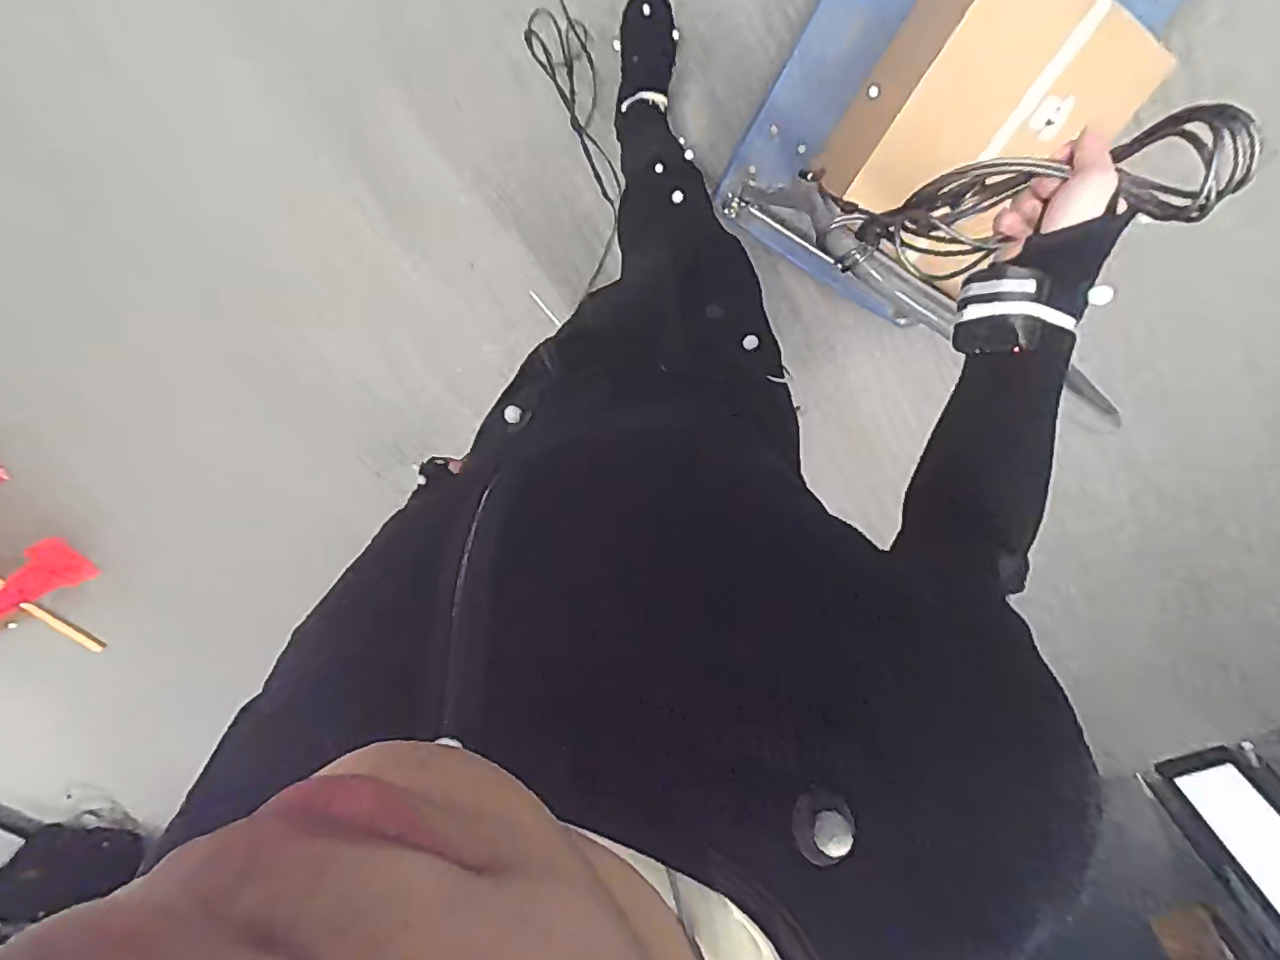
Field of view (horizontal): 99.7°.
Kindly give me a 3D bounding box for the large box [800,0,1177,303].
[{"bbox_3d":[0.553,-0.598,0.961,0.320,0.320,0.408,26,119,-15],"label":"large box"}]
